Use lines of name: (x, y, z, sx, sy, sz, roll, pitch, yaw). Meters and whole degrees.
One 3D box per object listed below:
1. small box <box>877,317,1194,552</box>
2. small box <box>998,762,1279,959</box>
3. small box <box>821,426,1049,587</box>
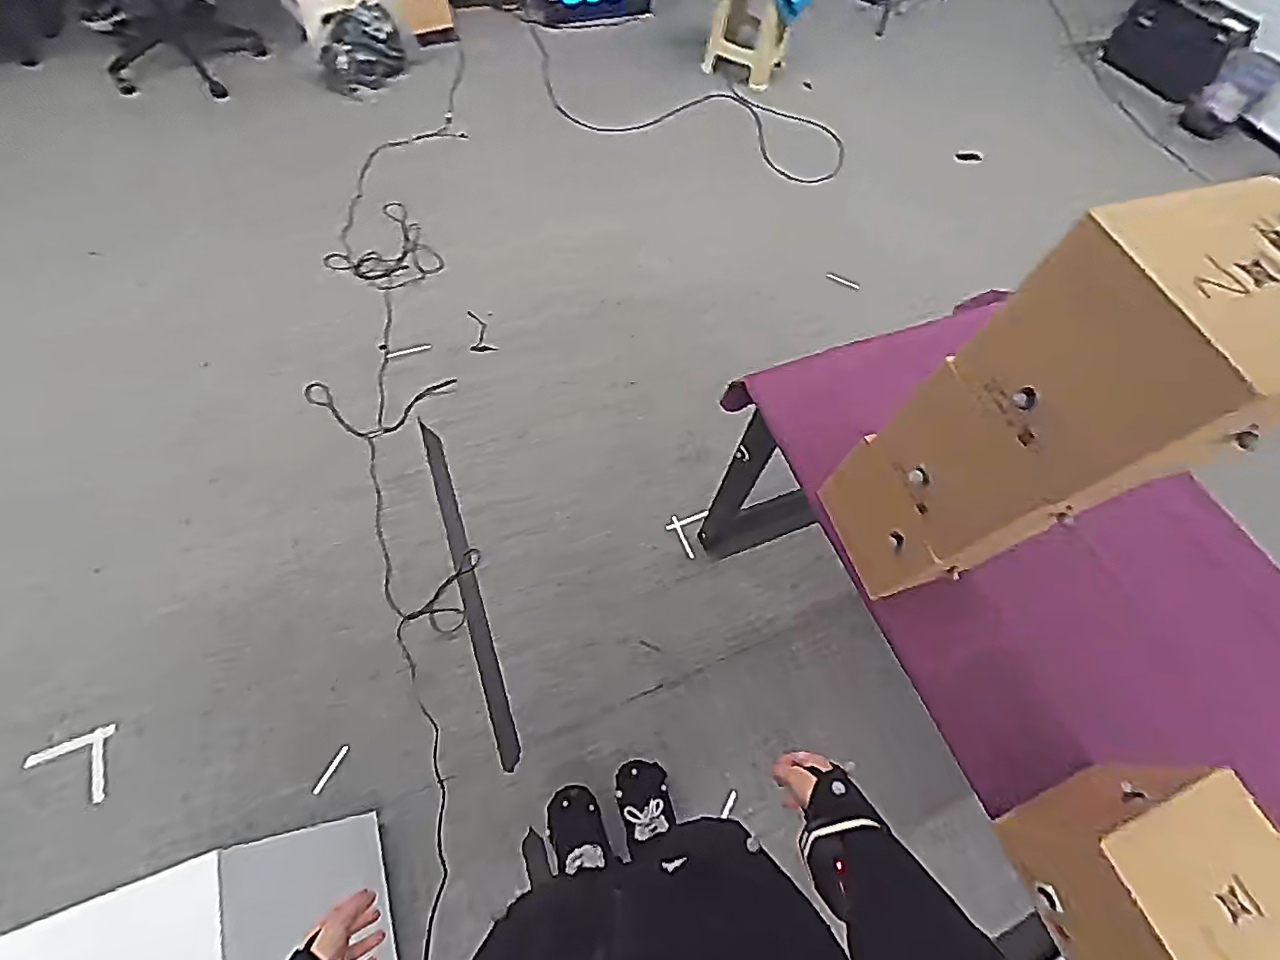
small box: (0.397, -0.042, 0.580, 0.179, 0.176, 0.168, -16, 66, -11)
small box: (0.525, 0.404, 0.551, 0.179, 0.176, 0.168, -19, 65, -12)
small box: (0.376, 0.032, 0.726, 0.168, 0.176, 0.179, -14, 65, -12)
